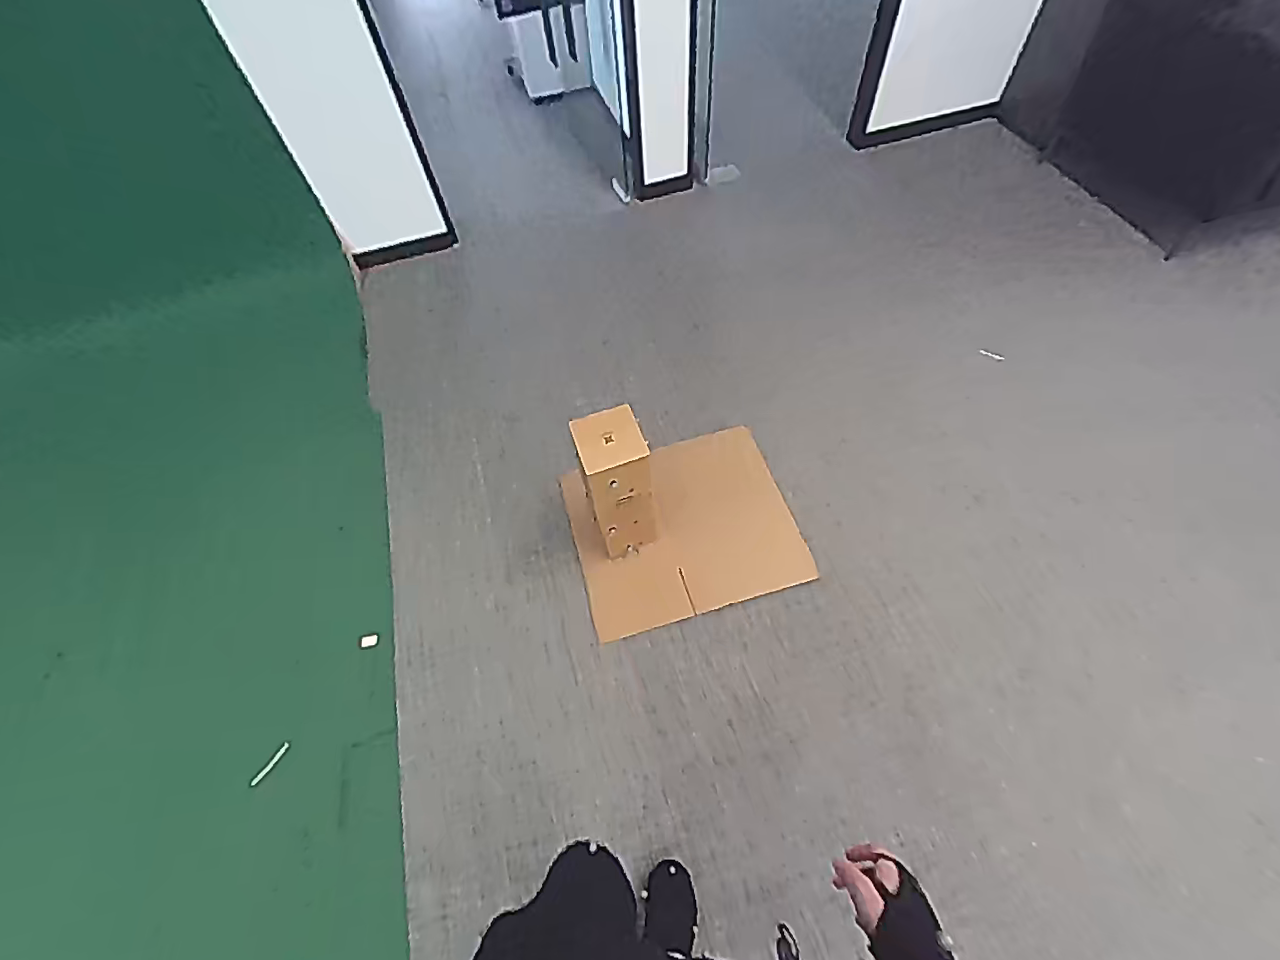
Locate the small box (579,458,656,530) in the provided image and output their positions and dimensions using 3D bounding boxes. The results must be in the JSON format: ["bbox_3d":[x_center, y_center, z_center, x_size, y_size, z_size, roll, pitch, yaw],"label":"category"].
[{"bbox_3d":[-0.059,0.024,1.537,0.168,0.176,0.179,-19,58,-7],"label":"small box"}]

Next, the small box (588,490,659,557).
[{"bbox_3d":[-0.048,0.110,1.676,0.168,0.176,0.179,-22,60,-9],"label":"small box"}]

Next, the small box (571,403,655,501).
[{"bbox_3d":[-0.066,-0.063,1.401,0.168,0.176,0.179,-19,58,-7],"label":"small box"}]
